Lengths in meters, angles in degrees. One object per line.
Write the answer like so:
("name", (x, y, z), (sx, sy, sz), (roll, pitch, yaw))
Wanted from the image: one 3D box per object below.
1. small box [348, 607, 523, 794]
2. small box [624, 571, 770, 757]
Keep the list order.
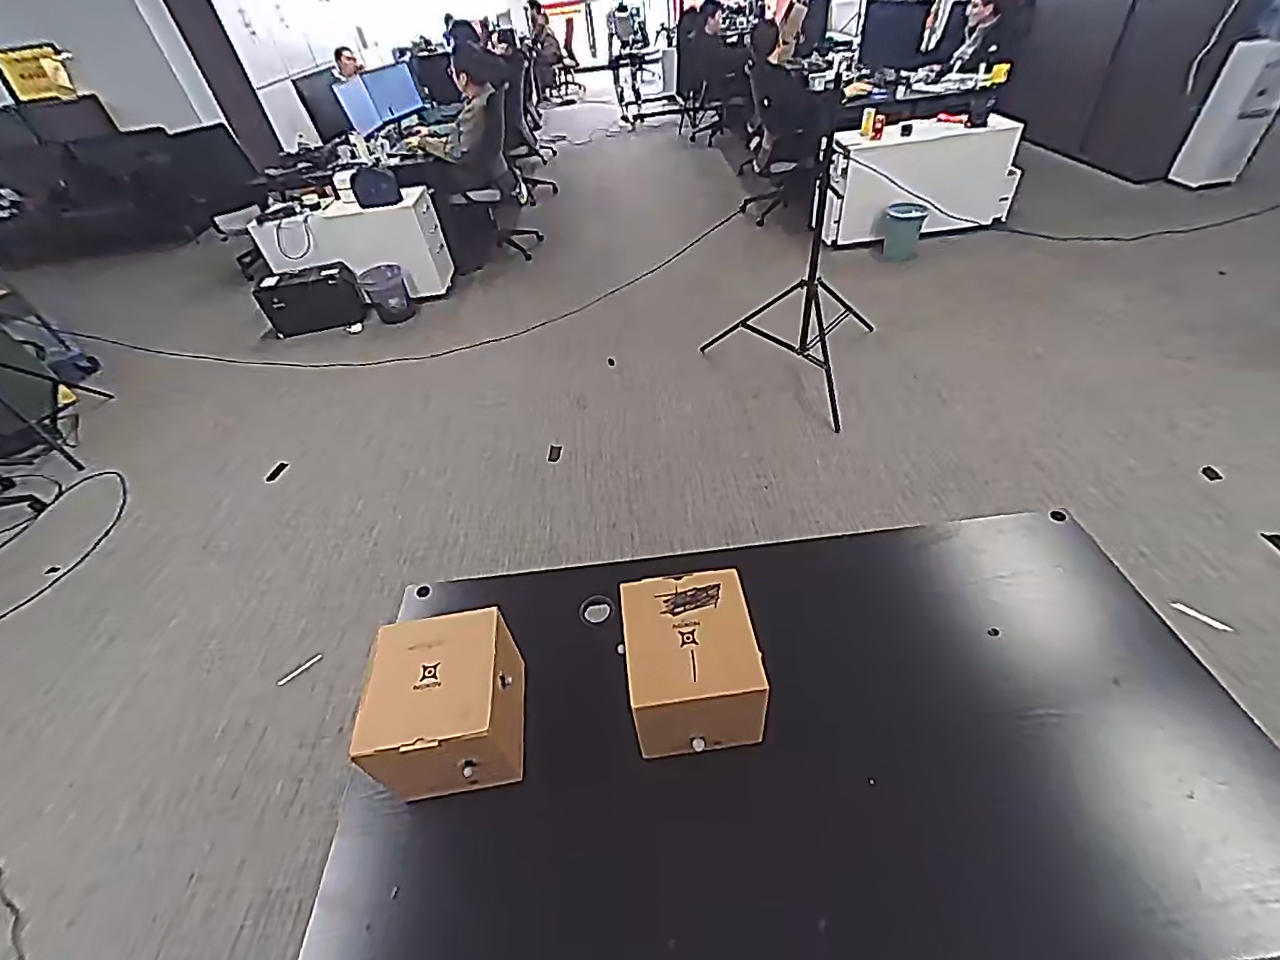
("small box", (-0.258, 0.303, 0.733), (0.168, 0.176, 0.179), (-9, 43, -3))
("small box", (0.071, 0.251, 0.740), (0.168, 0.176, 0.179), (-8, 44, 0))
